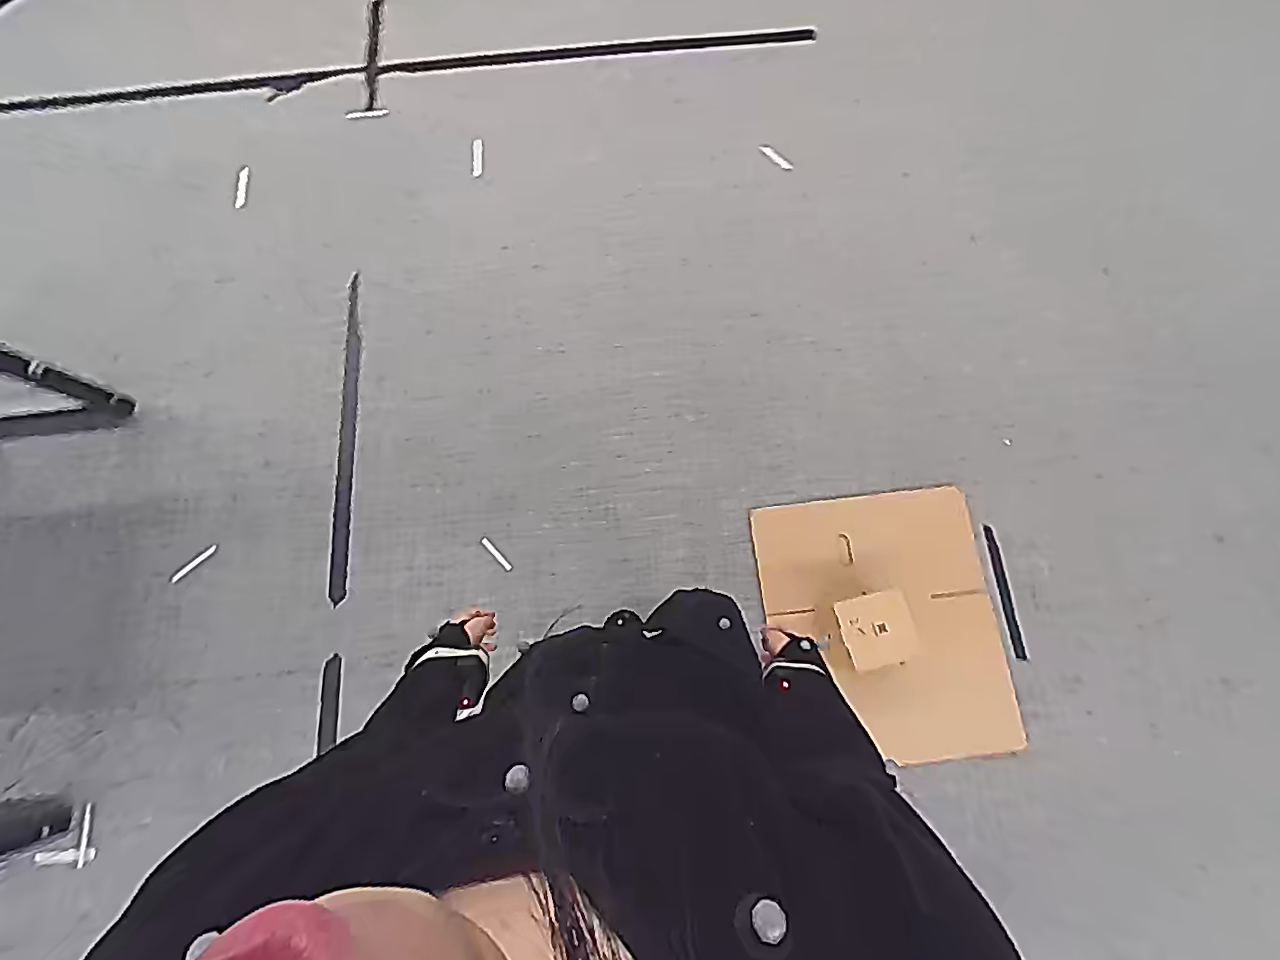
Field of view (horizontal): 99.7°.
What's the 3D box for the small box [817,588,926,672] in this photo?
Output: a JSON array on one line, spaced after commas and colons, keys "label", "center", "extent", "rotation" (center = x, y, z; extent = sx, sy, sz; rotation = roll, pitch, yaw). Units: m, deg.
[{"label": "small box", "center": [0.572, 0.376, 1.362], "extent": [0.179, 0.176, 0.168], "rotation": [-14, 74, -1]}]
